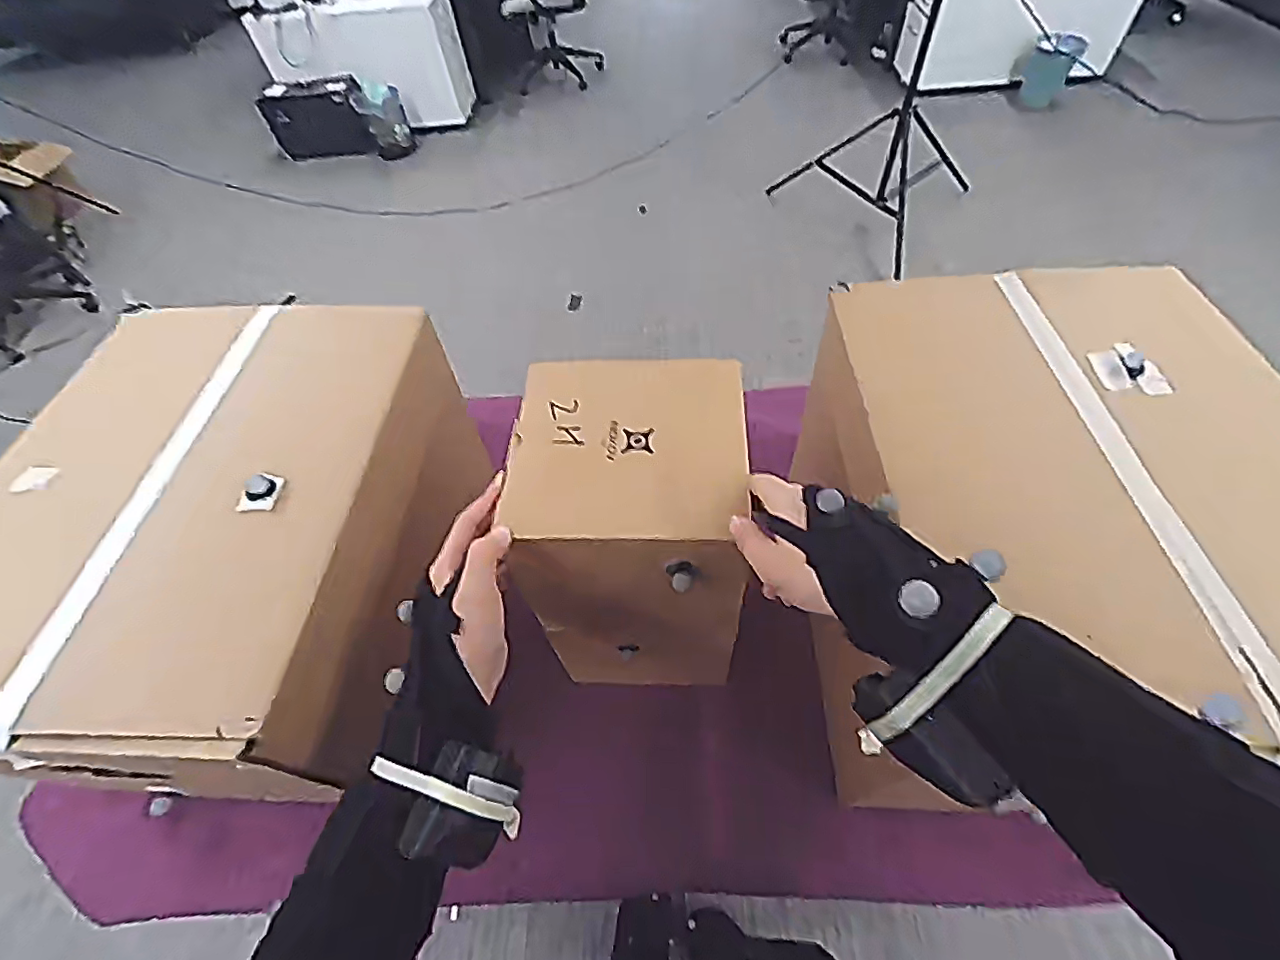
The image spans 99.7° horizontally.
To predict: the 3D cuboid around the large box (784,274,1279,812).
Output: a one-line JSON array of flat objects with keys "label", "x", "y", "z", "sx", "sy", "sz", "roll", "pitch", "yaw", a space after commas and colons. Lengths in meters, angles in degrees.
[{"label": "large box", "x": 0.338, "y": 0.062, "z": 0.512, "sx": 0.320, "sy": 0.320, "sz": 0.408, "roll": -2, "pitch": 52, "yaw": 3}]
